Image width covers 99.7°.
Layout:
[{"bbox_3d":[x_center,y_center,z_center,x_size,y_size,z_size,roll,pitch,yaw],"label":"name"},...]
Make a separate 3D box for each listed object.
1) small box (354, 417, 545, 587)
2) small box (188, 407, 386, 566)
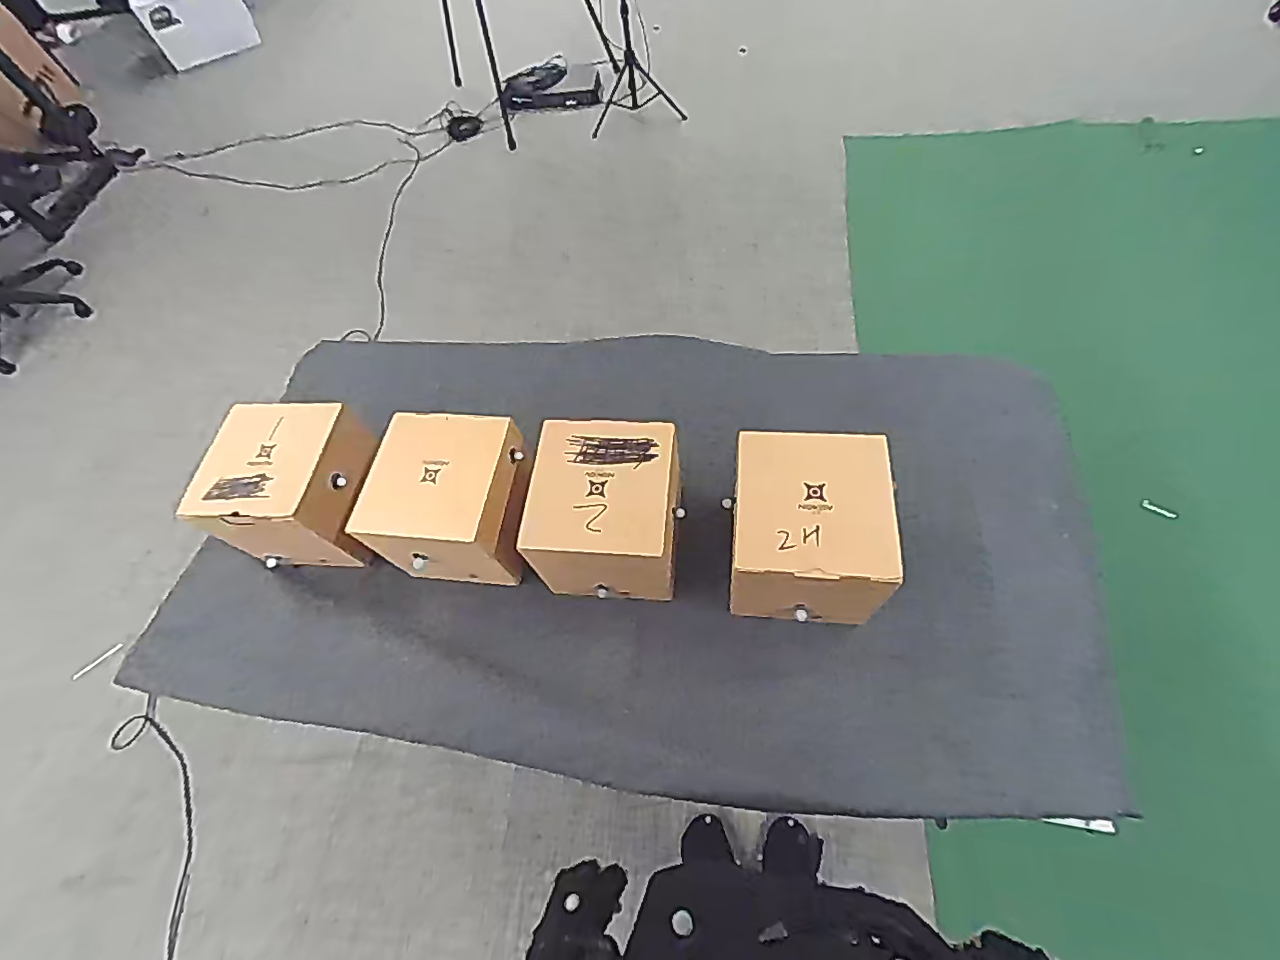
[{"bbox_3d":[-0.240,0.035,0.736,0.168,0.176,0.179,3,60,10],"label":"small box"},{"bbox_3d":[-0.472,0.015,0.776,0.168,0.176,0.179,0,60,8],"label":"small box"}]
